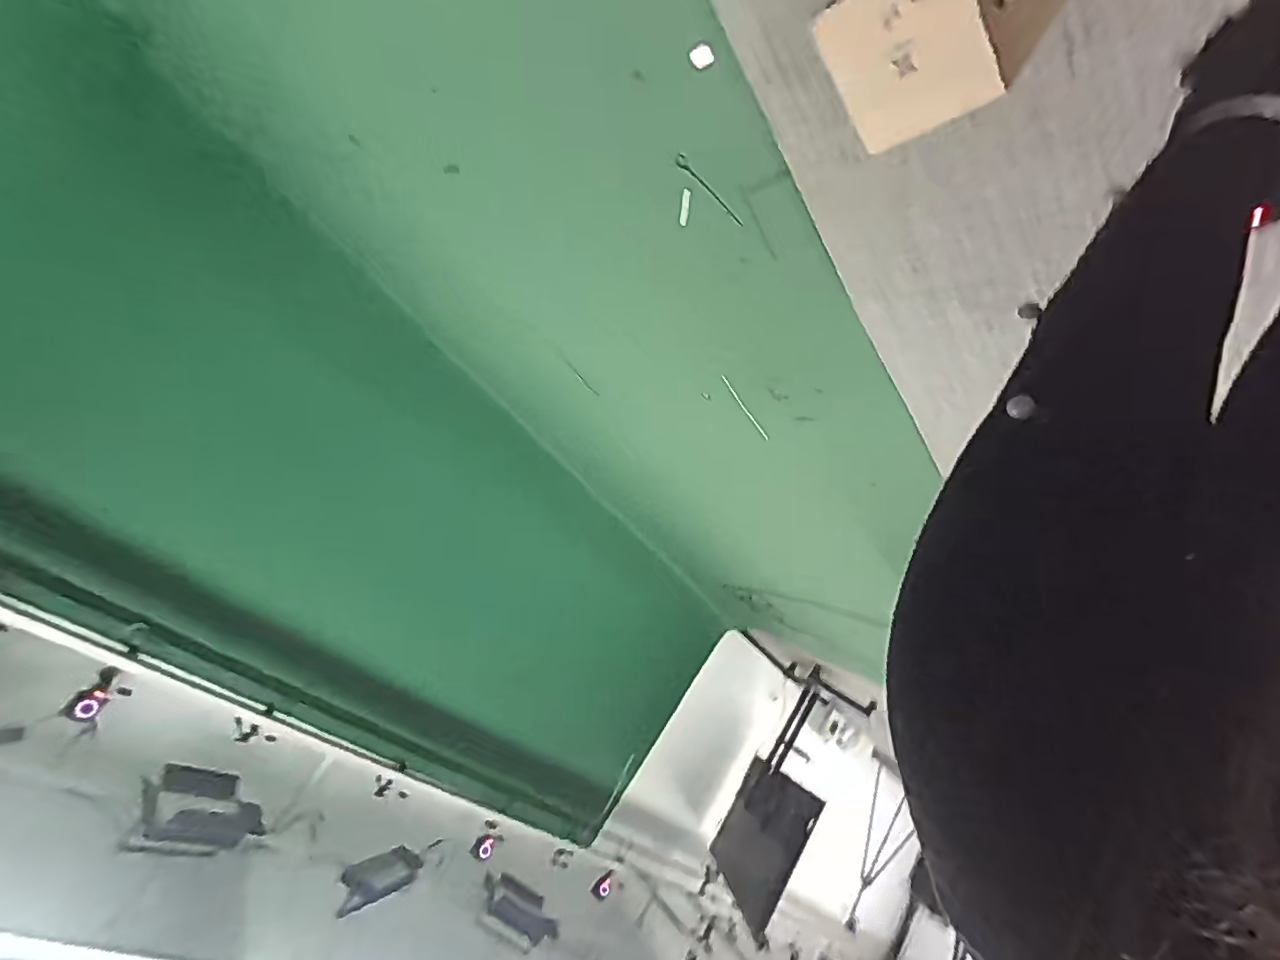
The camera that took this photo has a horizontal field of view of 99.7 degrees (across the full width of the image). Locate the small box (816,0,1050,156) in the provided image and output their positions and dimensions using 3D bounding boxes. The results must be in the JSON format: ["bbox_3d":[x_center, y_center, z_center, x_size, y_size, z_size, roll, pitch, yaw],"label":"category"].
[{"bbox_3d":[0.352,-0.543,0.645,0.179,0.176,0.168,46,160,-29],"label":"small box"}]
